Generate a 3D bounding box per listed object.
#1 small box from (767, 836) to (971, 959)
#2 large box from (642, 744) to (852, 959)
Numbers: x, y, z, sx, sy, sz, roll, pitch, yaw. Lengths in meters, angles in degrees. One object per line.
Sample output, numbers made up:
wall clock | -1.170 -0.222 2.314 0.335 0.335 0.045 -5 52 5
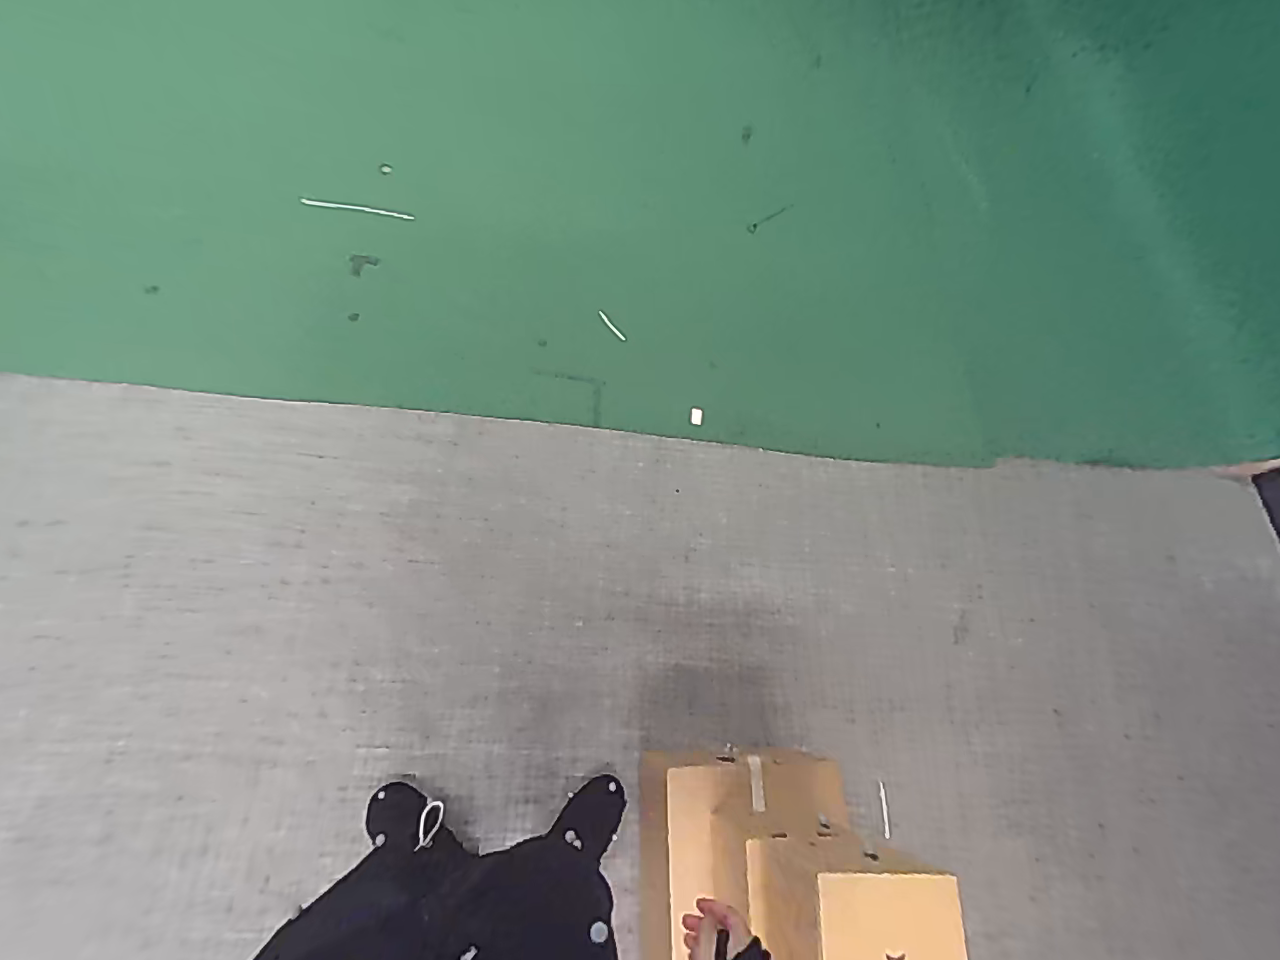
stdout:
small box | 0.255 0.534 0.630 0.168 0.176 0.179 6 68 -7
large box | 0.183 0.724 0.985 0.320 0.320 0.408 2 69 -8
